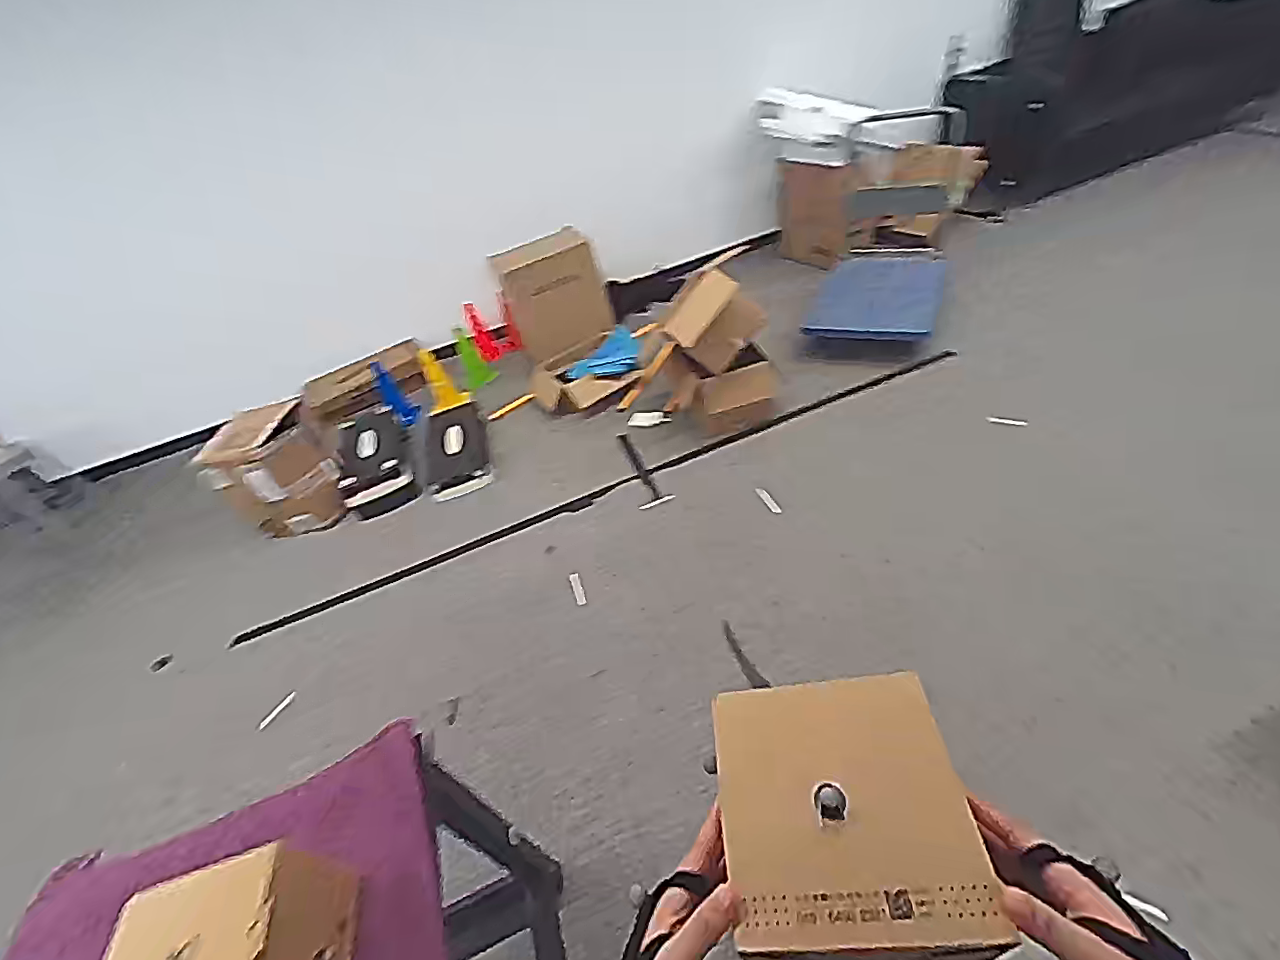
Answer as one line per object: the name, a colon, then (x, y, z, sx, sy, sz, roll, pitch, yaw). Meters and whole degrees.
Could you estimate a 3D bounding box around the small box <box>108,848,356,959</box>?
small box: (-0.457, 0.557, 0.604, 0.179, 0.176, 0.168, -20, 41, -4)

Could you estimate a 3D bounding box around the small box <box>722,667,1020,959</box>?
small box: (0.168, 0.276, 0.434, 0.168, 0.179, 0.176, -10, 44, 12)
